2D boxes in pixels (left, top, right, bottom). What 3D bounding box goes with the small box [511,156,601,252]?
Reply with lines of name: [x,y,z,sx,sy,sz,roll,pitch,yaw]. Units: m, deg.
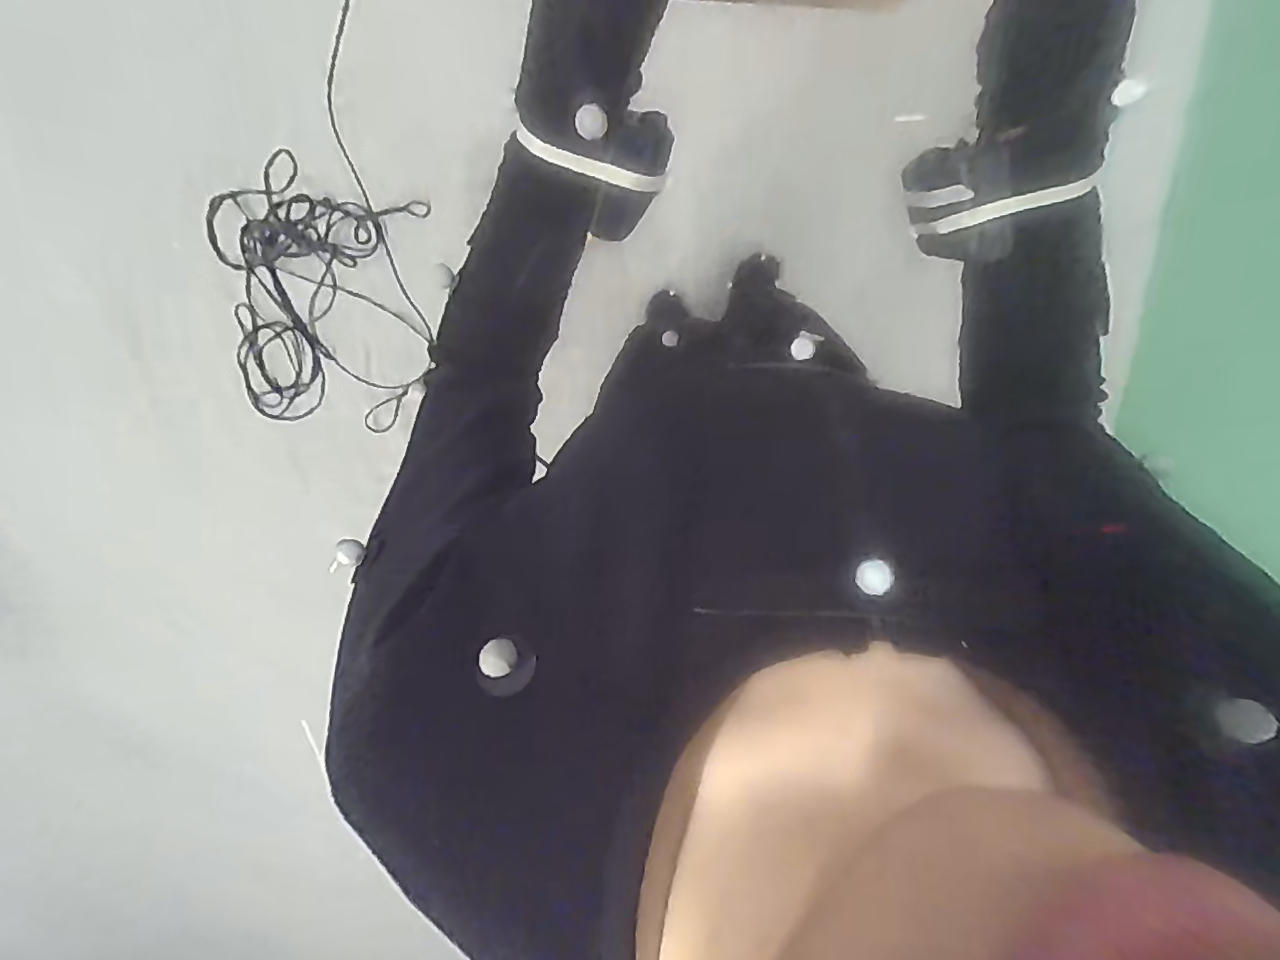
small box: [-0.181,-0.612,1.219,0.168,0.176,0.179,-2,109,2]
